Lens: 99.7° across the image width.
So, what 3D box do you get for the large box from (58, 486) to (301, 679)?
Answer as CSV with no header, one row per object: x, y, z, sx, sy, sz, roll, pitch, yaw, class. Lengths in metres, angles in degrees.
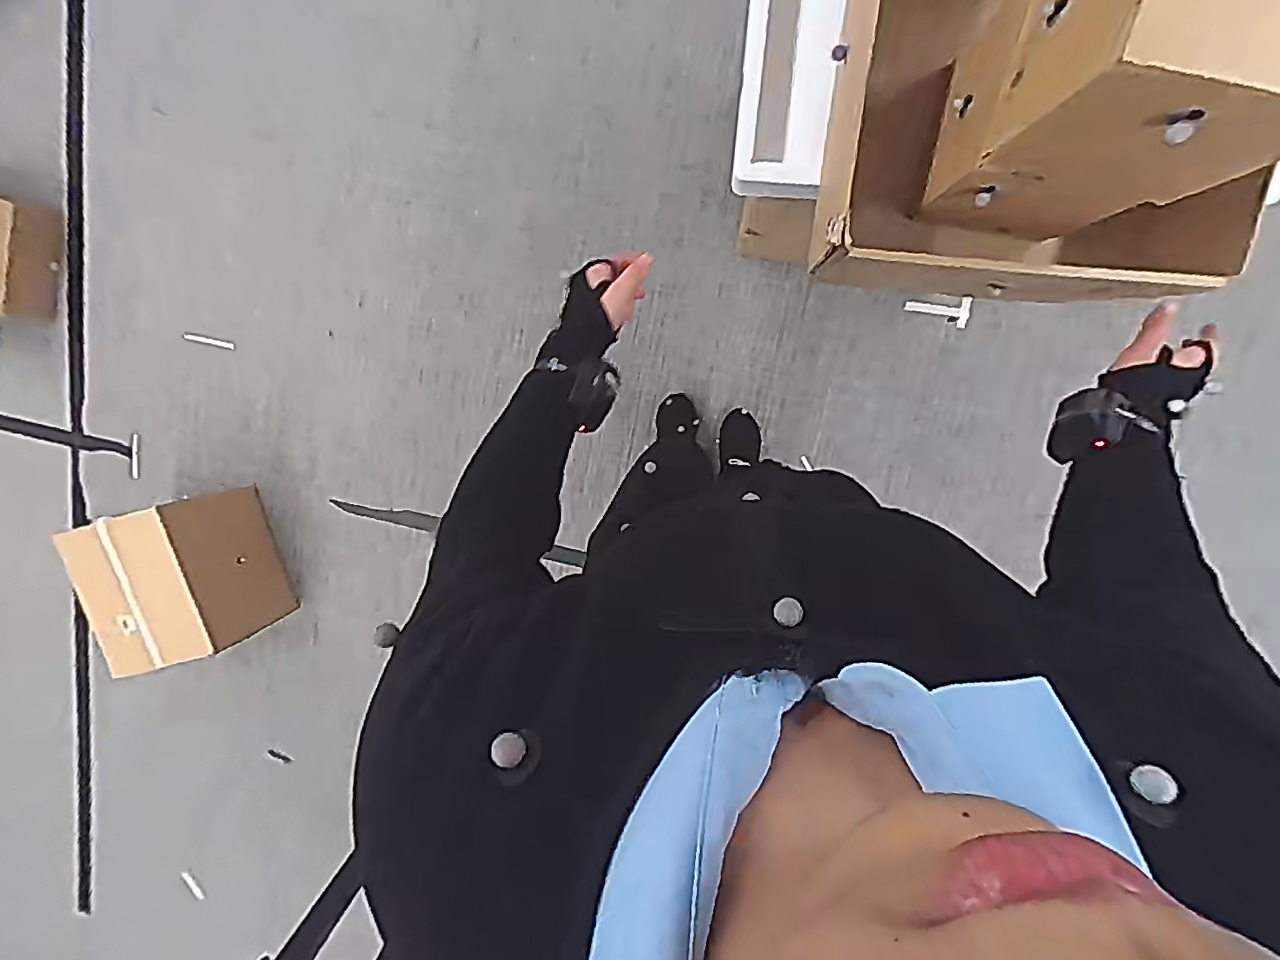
-1.249,0.268,1.510,0.320,0.320,0.408,-15,99,9,large box
